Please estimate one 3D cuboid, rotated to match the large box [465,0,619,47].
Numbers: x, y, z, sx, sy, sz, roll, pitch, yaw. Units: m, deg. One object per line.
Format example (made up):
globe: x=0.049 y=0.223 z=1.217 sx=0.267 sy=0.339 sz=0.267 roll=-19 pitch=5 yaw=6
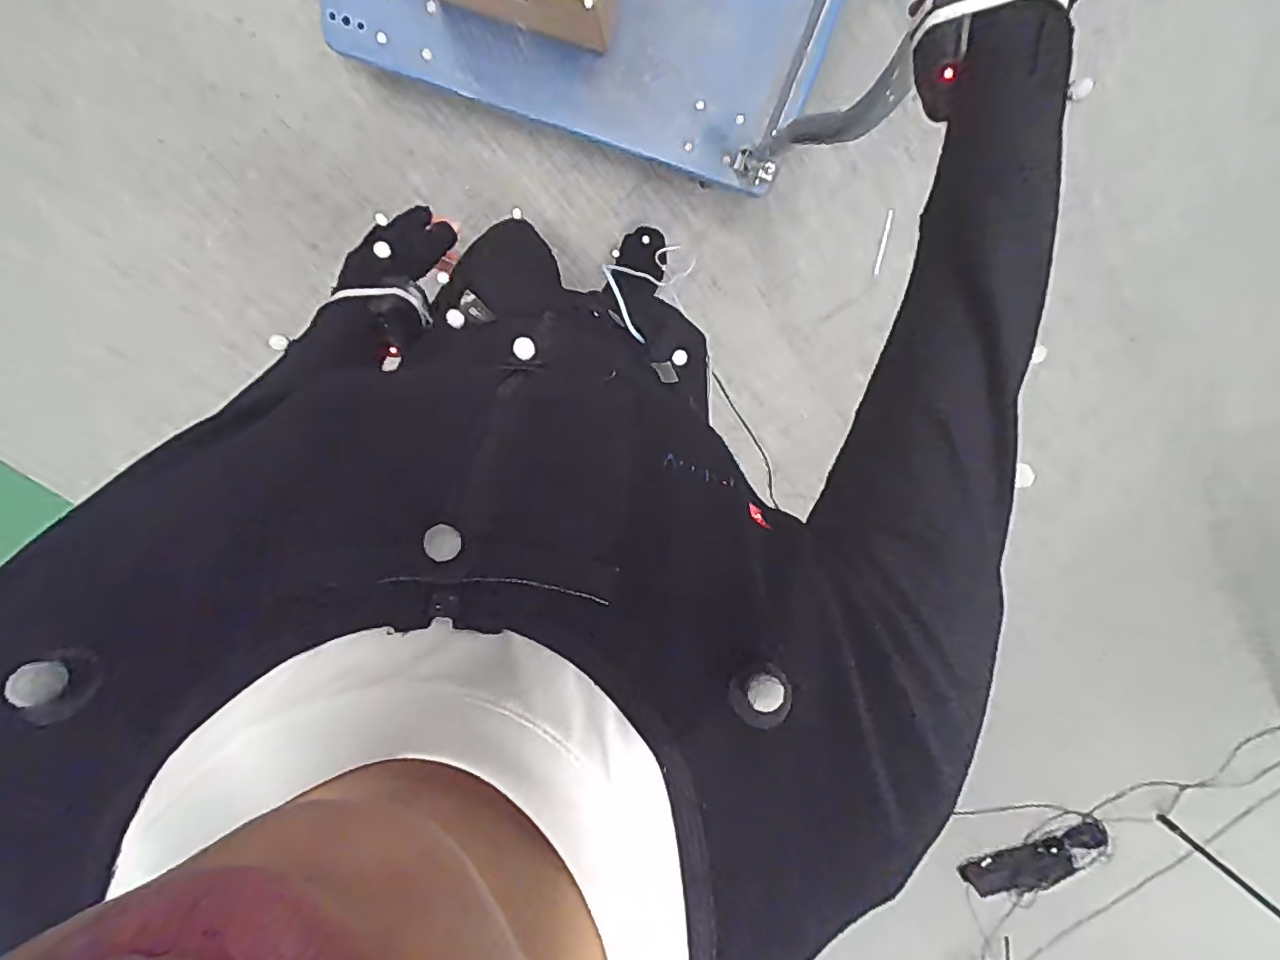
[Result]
large box: x=-0.150 y=-0.908 z=0.735 sx=0.320 sy=0.320 sz=0.408 roll=13 pitch=118 yaw=-6
